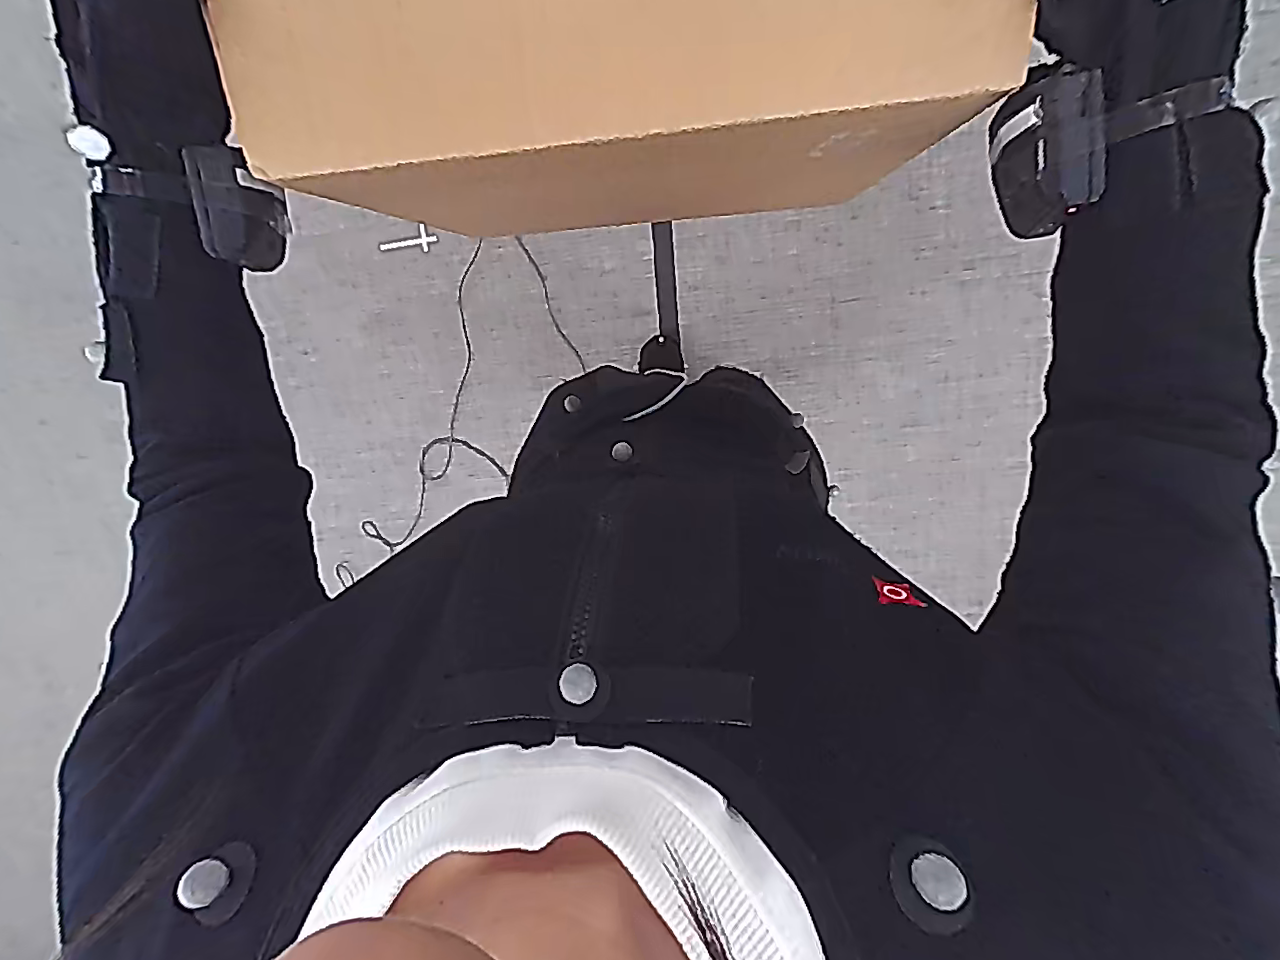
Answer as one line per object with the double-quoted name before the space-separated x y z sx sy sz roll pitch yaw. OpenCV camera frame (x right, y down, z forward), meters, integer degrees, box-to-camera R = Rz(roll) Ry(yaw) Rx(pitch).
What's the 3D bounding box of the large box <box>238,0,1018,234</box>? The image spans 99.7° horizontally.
"large box" -0.013 -0.382 0.388 0.408 0.320 0.320 -3 109 6
